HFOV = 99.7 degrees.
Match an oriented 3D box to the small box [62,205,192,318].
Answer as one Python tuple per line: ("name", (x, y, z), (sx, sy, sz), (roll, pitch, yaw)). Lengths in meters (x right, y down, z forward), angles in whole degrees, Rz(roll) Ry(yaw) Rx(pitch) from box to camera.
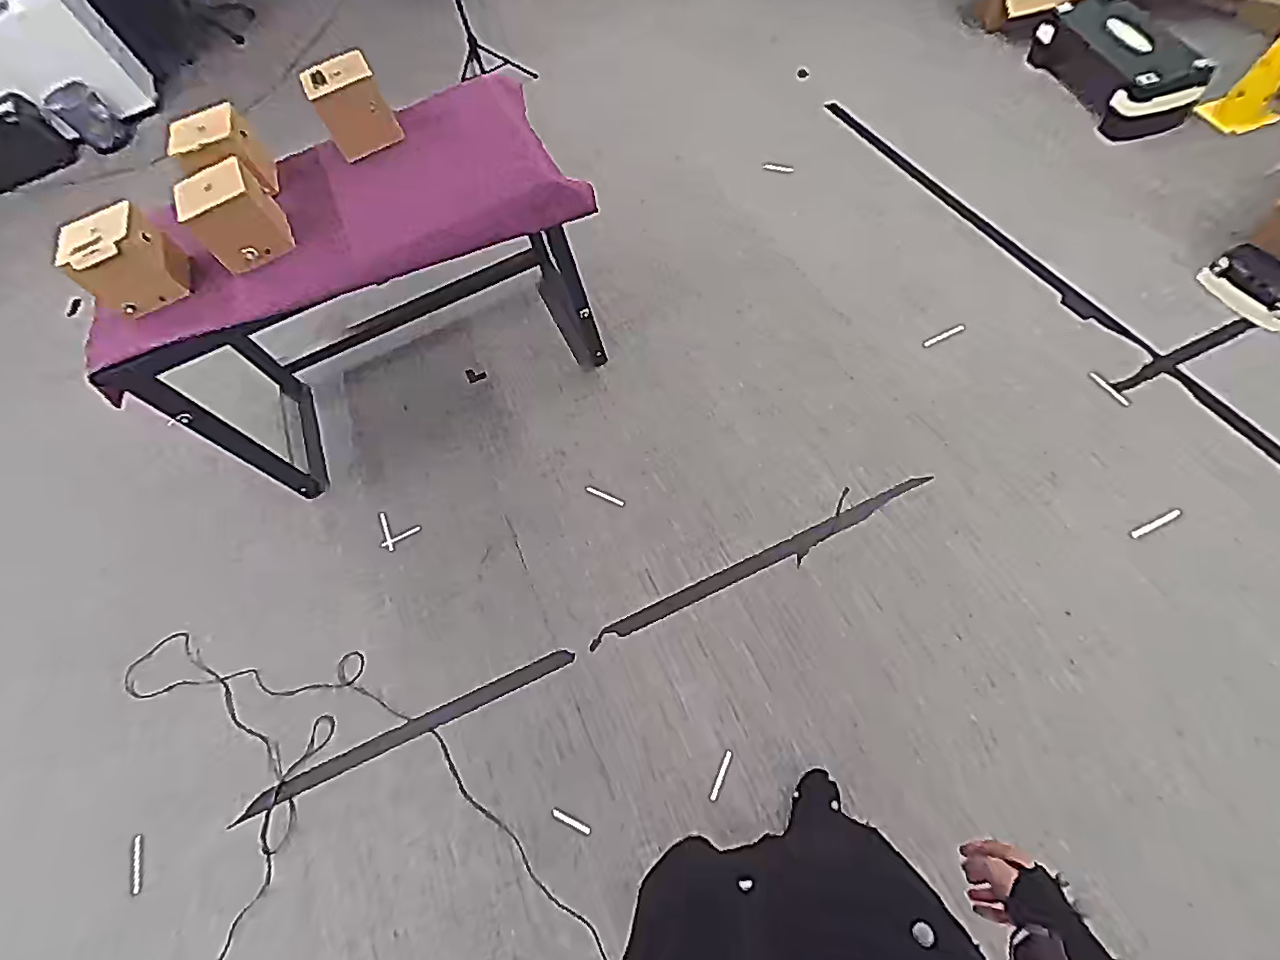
("small box", (-1.247, -0.525, 1.326), (0.168, 0.176, 0.179), (-27, 61, -5))

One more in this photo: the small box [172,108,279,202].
("small box", (-1.122, -0.861, 1.474), (0.168, 0.176, 0.179), (-23, 62, -3))

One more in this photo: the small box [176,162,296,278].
("small box", (-0.999, -0.642, 1.346), (0.168, 0.176, 0.179), (-30, 62, -5))
